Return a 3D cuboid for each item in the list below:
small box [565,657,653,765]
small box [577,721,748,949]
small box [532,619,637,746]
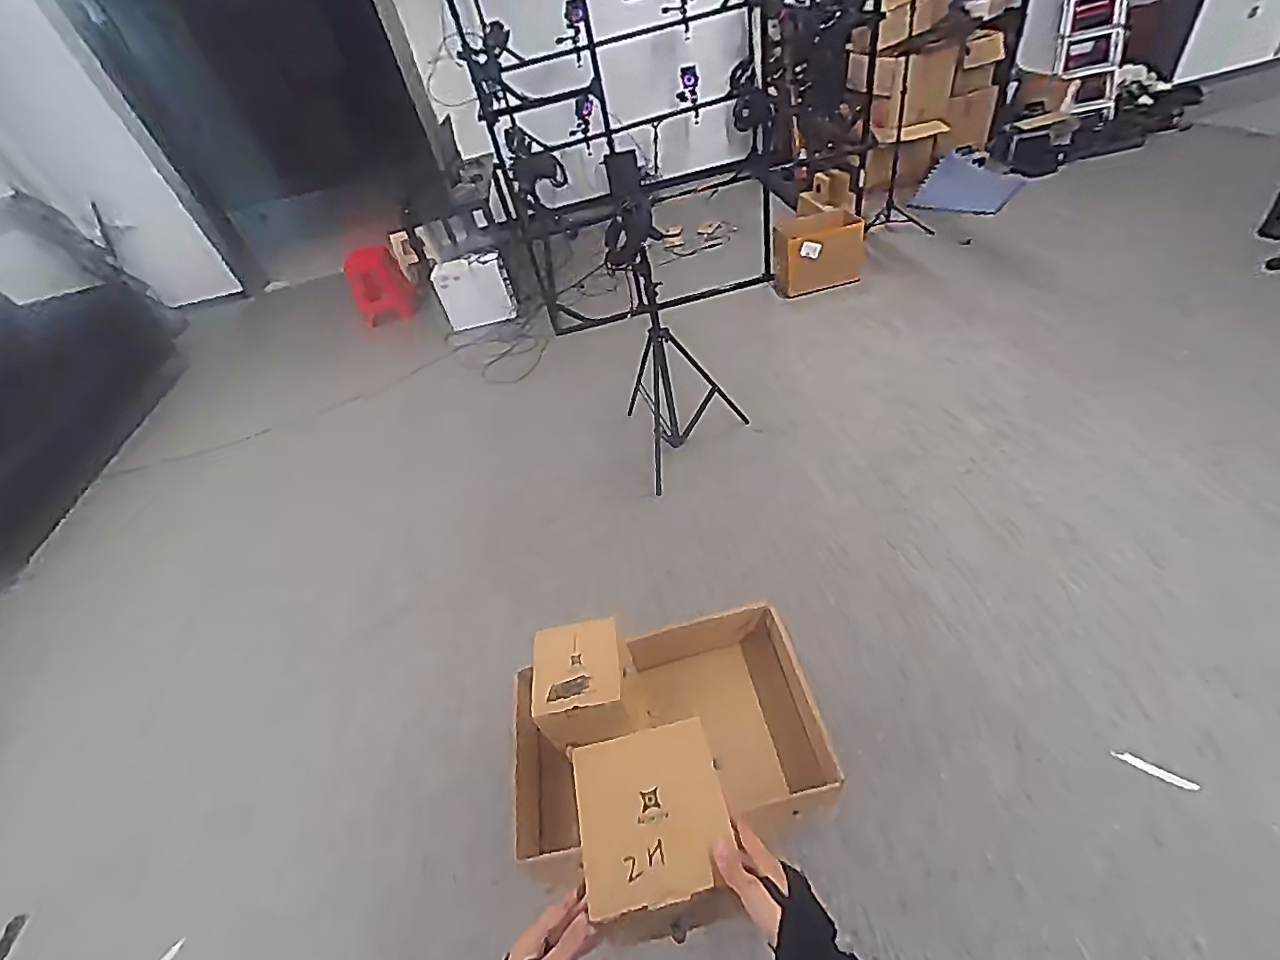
[{"bbox_3d":[-0.069,0.519,1.173,0.168,0.176,0.179,-16,43,-1],"label":"small box"},{"bbox_3d":[0.024,0.433,0.663,0.168,0.176,0.179,-13,42,-4],"label":"small box"},{"bbox_3d":[-0.104,0.403,1.061,0.168,0.176,0.179,-11,43,3],"label":"small box"}]
